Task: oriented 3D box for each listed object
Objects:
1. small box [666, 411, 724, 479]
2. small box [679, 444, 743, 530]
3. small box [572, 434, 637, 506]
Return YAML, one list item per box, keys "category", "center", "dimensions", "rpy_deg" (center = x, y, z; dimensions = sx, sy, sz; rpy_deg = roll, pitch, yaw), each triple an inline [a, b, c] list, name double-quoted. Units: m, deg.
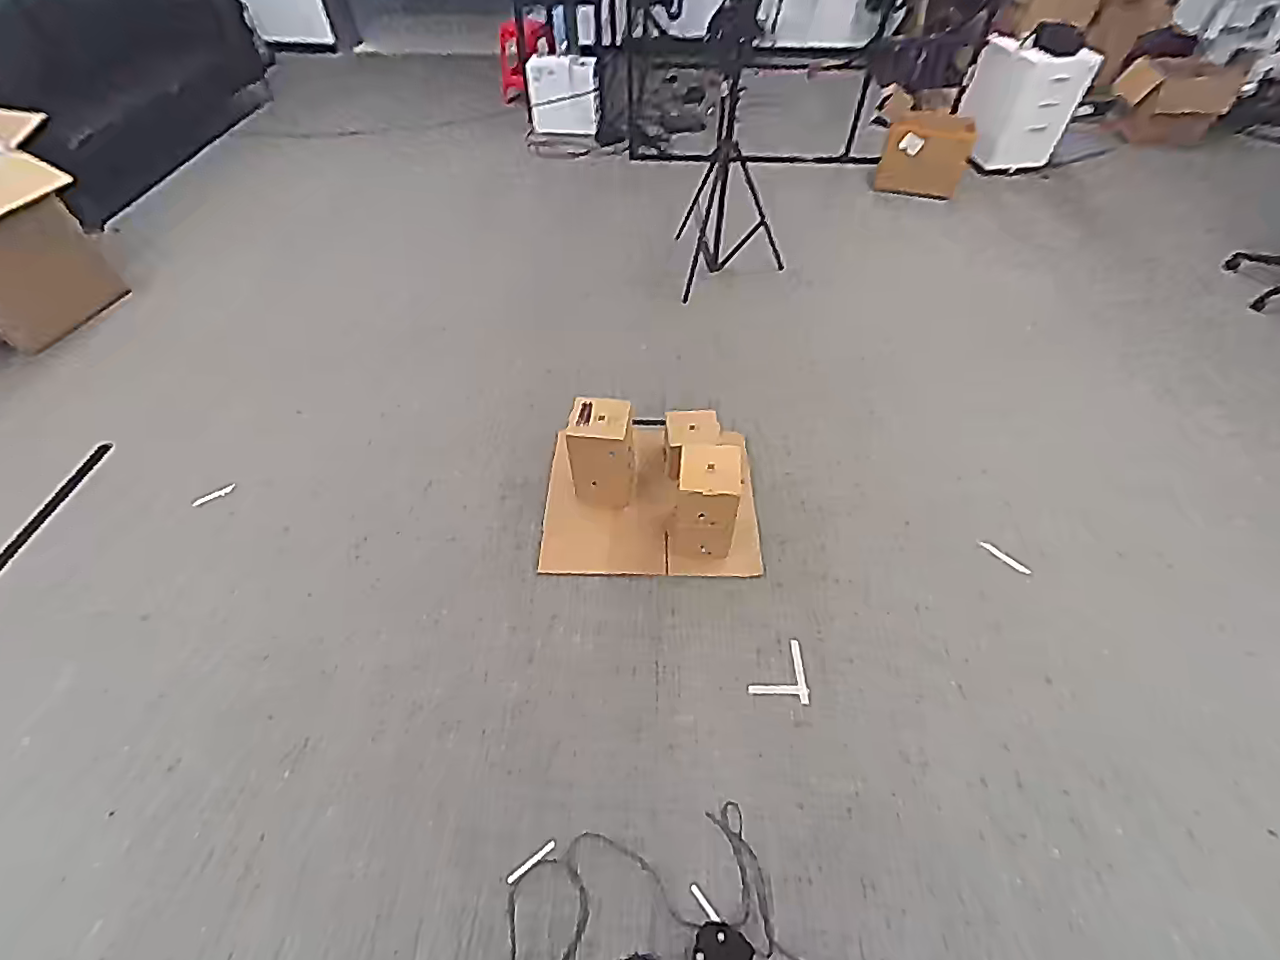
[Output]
- category: "small box"
  center: [0.185, -0.119, 1.866]
  dimensions: [0.179, 0.176, 0.168]
  rpy_deg: [-3, 51, -1]
- category: "small box"
  center: [0.199, 0.021, 1.543]
  dimensions: [0.168, 0.176, 0.179]
  rpy_deg: [4, 53, 4]
- category: "small box"
  center: [-0.111, -0.031, 1.793]
  dimensions: [0.179, 0.176, 0.168]
  rpy_deg: [7, 52, 8]
